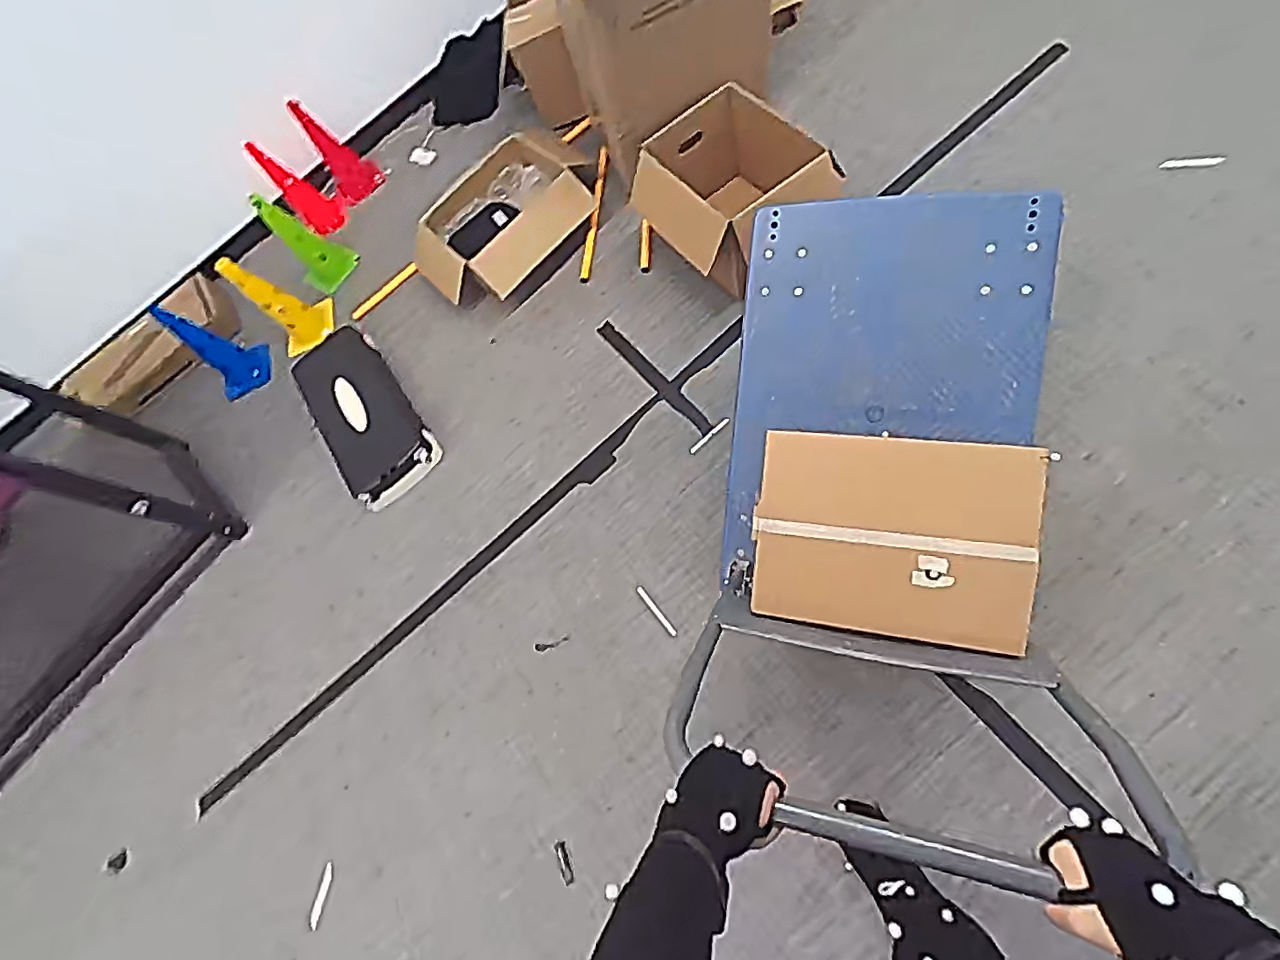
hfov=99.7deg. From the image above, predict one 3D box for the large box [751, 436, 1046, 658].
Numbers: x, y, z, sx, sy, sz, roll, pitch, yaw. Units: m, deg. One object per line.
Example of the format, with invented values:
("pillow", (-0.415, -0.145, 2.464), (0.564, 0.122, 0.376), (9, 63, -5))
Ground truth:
("large box", (0.426, 0.090, 0.983), (0.408, 0.320, 0.320), (6, 95, 17))
